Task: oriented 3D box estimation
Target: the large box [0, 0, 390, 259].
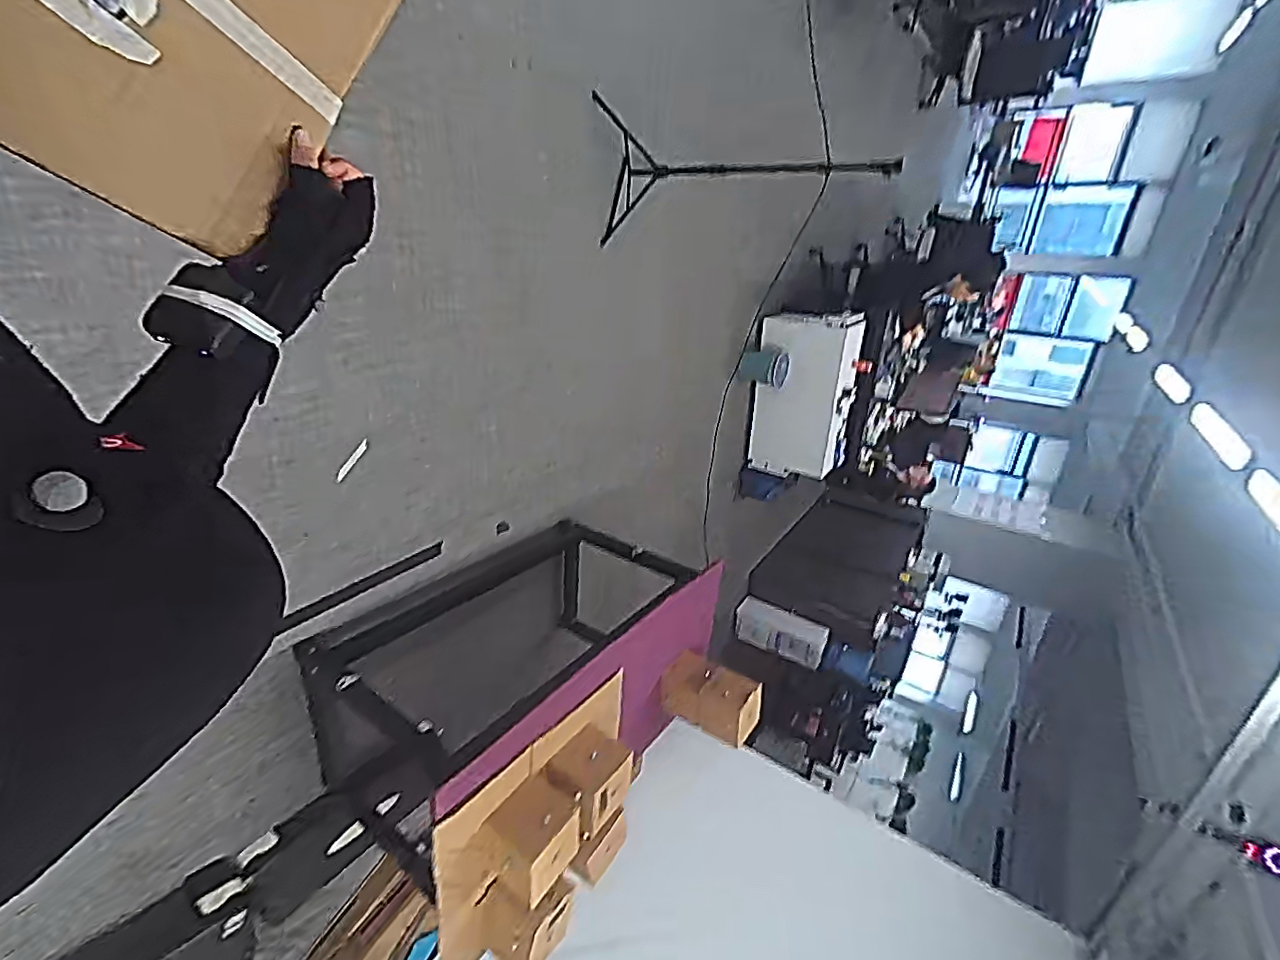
[{"bbox_3d":[-0.472,-0.430,0.378,0.320,0.320,0.408,-60,149,1],"label":"large box"}]
